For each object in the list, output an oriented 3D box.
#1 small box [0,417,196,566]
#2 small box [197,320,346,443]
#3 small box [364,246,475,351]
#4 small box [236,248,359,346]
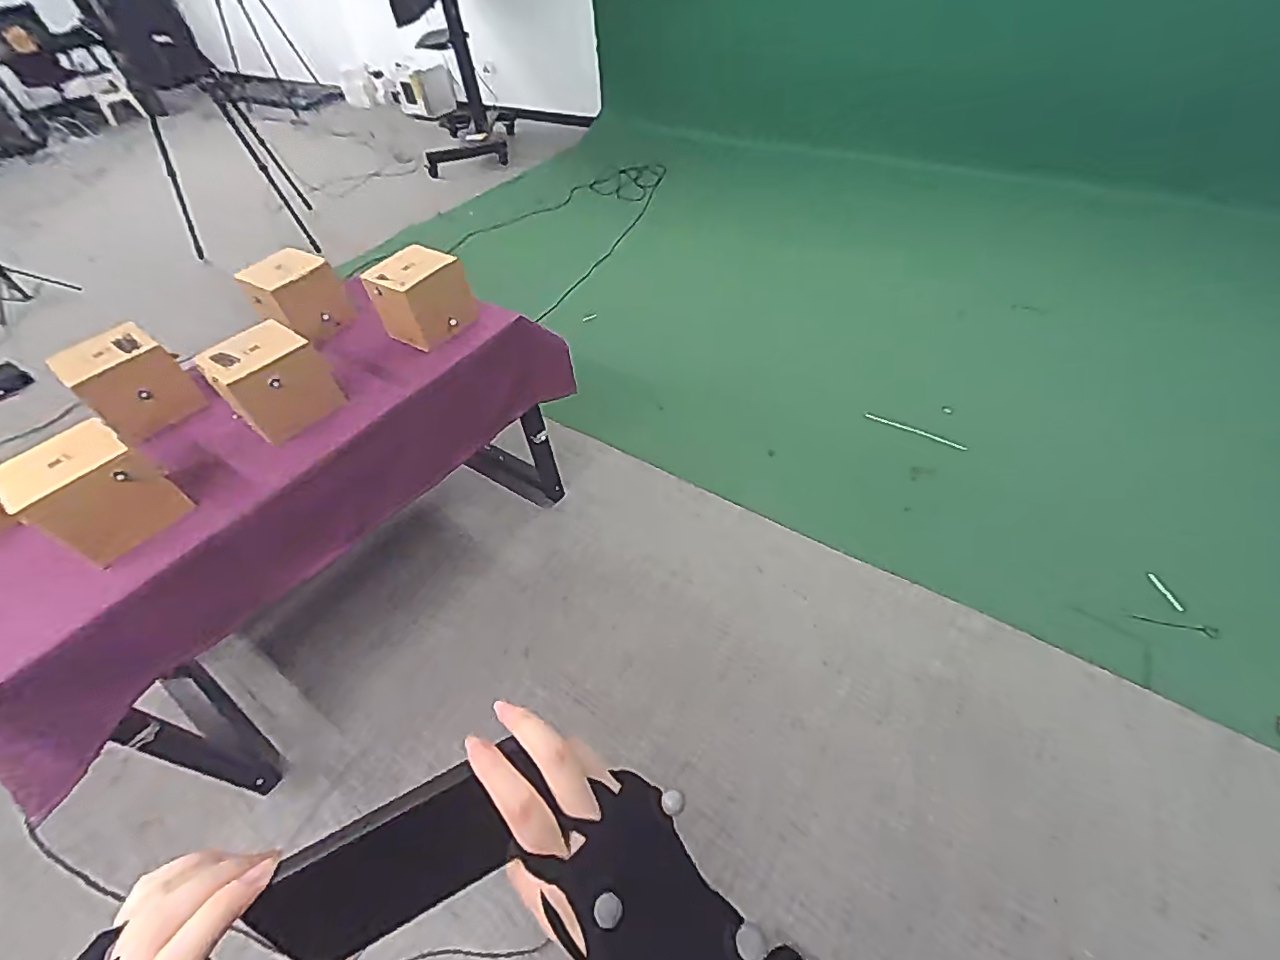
[{"bbox_3d":[-0.973,0.023,0.978,0.168,0.176,0.179,27,56,27],"label":"small box"},{"bbox_3d":[-0.780,-0.209,1.161,0.168,0.176,0.179,29,57,27],"label":"small box"},{"bbox_3d":[-0.536,-0.451,1.346,0.168,0.176,0.179,25,56,26],"label":"small box"},{"bbox_3d":[-0.877,-0.470,1.398,0.179,0.176,0.168,24,56,24],"label":"small box"}]
